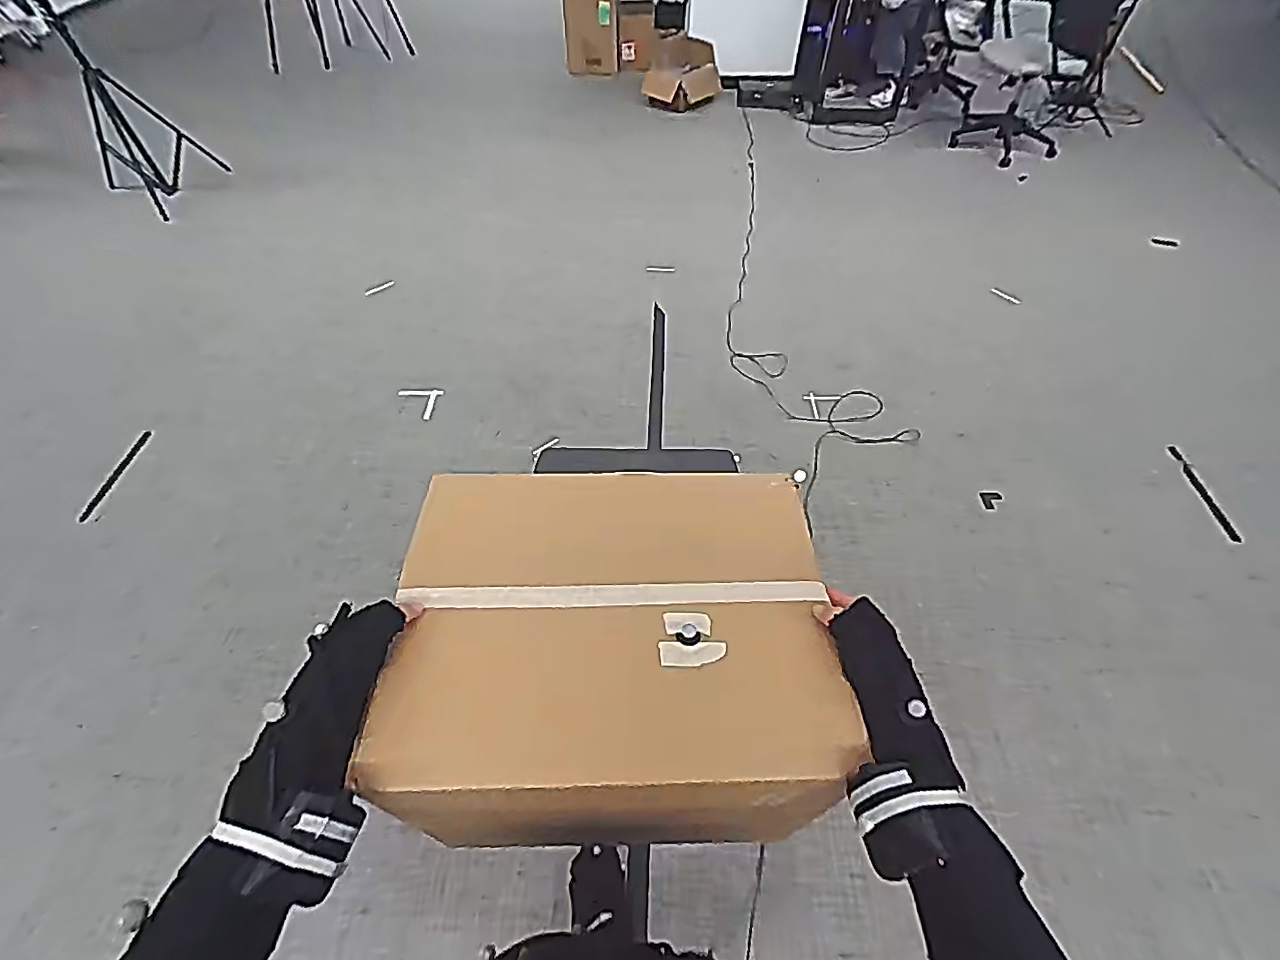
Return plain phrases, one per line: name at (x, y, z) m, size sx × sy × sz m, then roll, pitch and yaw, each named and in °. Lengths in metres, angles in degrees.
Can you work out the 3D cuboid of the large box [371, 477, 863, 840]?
large box at (-0.025, 0.211, 0.638) m, size 0.408 × 0.320 × 0.320 m, roll 0°, pitch 49°, yaw -2°
